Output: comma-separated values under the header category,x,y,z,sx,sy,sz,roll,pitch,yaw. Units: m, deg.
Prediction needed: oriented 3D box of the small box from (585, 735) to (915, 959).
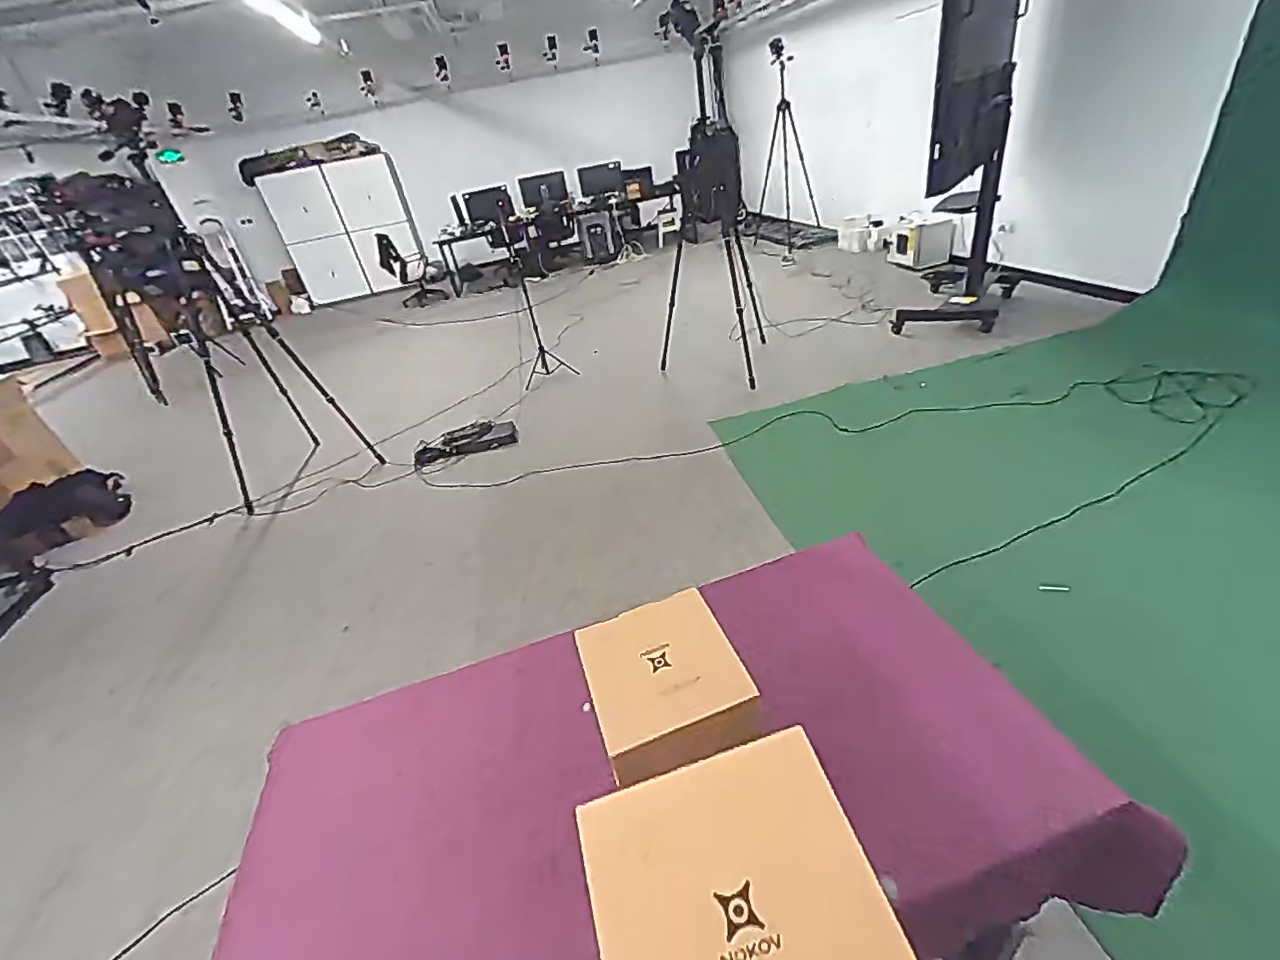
category,x,y,z,sx,sy,sz,roll,pitch,yaw
small box,0.072,0.313,0.368,0.168,0.176,0.179,-17,45,-5

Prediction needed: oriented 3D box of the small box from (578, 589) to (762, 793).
category,x,y,z,sx,sy,sz,roll,pitch,yaw
small box,0.035,0.271,0.655,0.168,0.176,0.179,-18,34,-9
